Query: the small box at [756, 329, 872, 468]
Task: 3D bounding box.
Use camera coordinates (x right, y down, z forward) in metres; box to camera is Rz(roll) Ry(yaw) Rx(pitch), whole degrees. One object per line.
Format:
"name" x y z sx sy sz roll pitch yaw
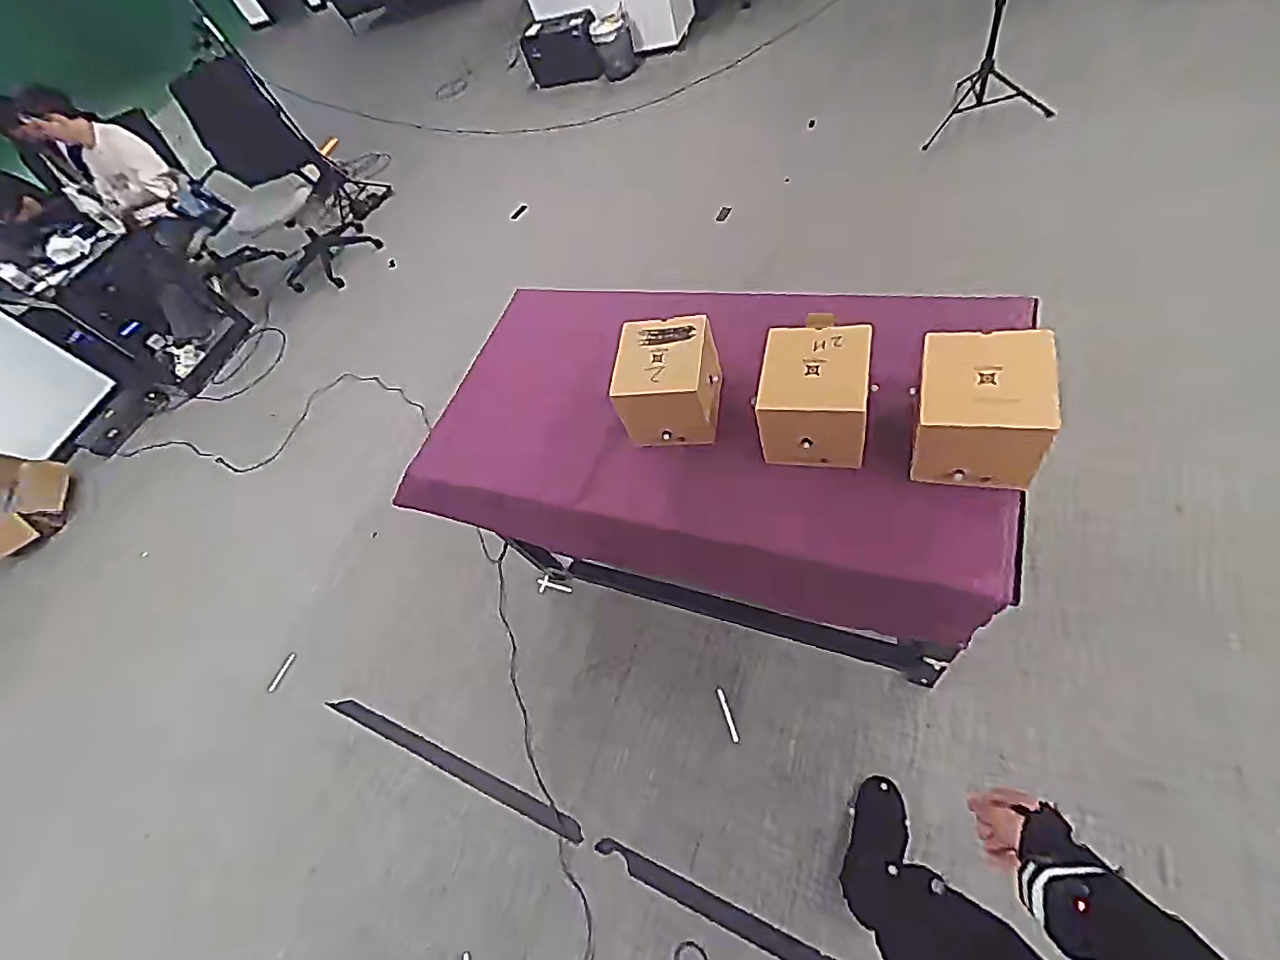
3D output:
"small box" 0.303 -0.135 0.931 0.168 0.176 0.179 4 61 22

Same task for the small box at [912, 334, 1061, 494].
"small box" 0.518 -0.101 0.831 0.168 0.176 0.179 5 61 25
